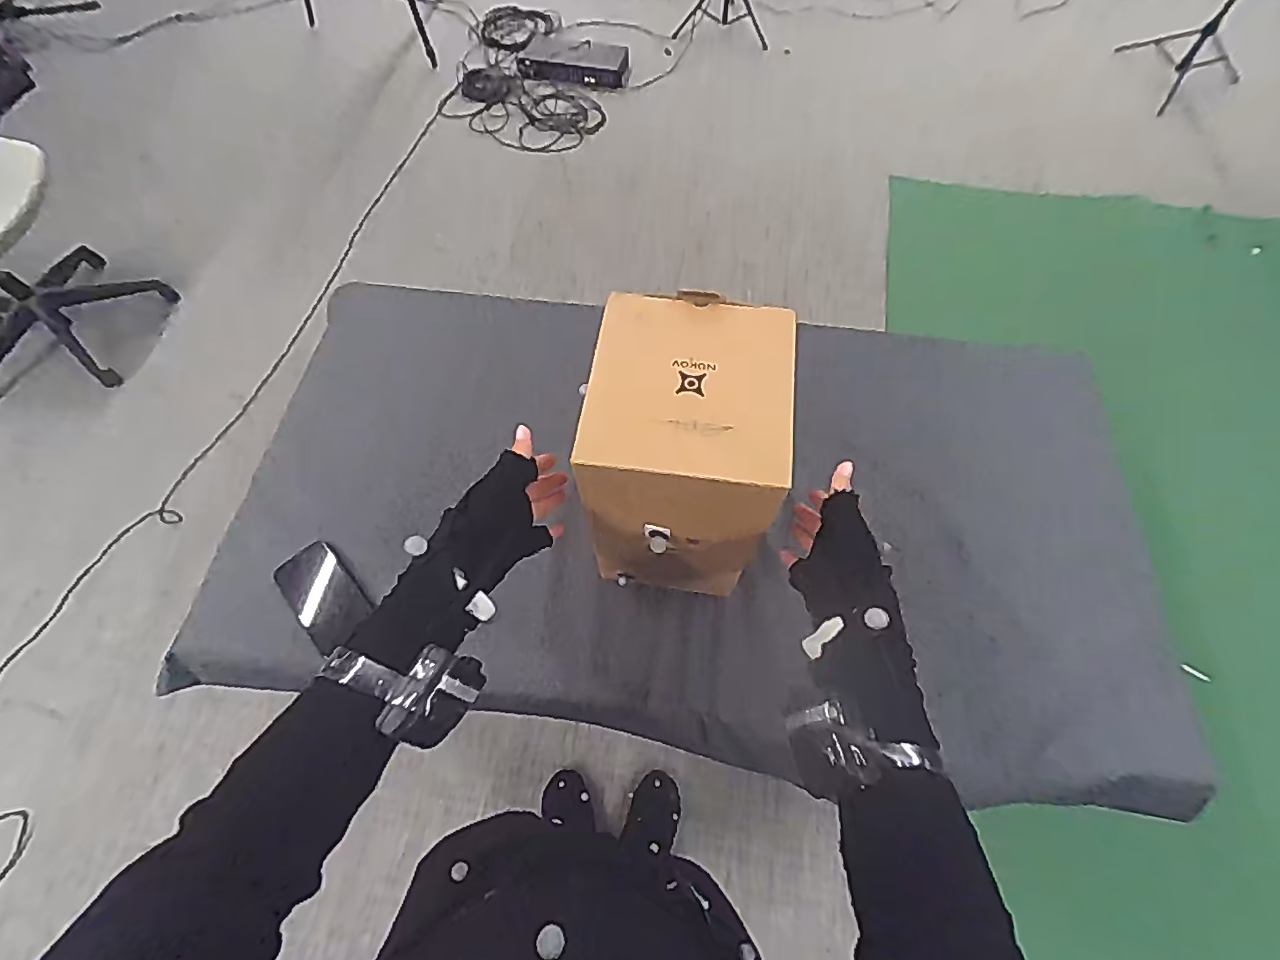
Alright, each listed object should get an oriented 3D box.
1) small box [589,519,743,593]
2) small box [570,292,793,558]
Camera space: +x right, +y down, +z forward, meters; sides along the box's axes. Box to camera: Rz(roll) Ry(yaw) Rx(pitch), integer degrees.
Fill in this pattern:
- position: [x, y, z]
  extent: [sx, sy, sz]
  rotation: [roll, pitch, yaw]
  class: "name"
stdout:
- position: [0.042, 0.025, 0.655]
  extent: [0.168, 0.176, 0.179]
  rotation: [8, 63, 4]
  class: "small box"
- position: [0.039, -0.043, 0.507]
  extent: [0.168, 0.176, 0.179]
  rotation: [7, 64, 5]
  class: "small box"
